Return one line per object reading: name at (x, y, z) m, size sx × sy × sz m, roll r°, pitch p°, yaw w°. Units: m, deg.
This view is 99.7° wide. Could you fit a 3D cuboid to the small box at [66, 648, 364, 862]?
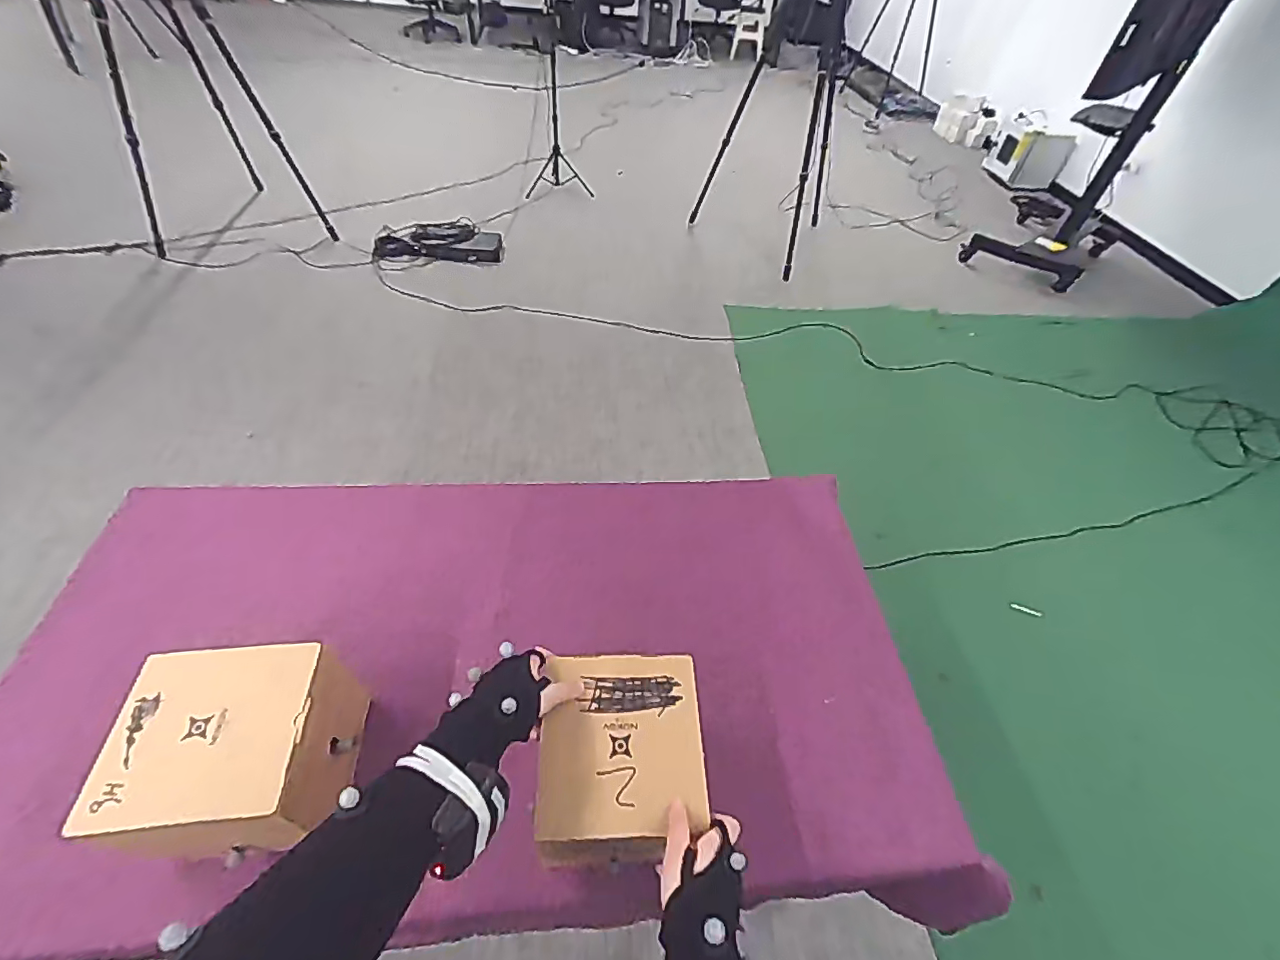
small box at (-0.425, 0.298, 0.587) m, size 0.179 × 0.176 × 0.168 m, roll -1°, pitch 48°, yaw -8°
